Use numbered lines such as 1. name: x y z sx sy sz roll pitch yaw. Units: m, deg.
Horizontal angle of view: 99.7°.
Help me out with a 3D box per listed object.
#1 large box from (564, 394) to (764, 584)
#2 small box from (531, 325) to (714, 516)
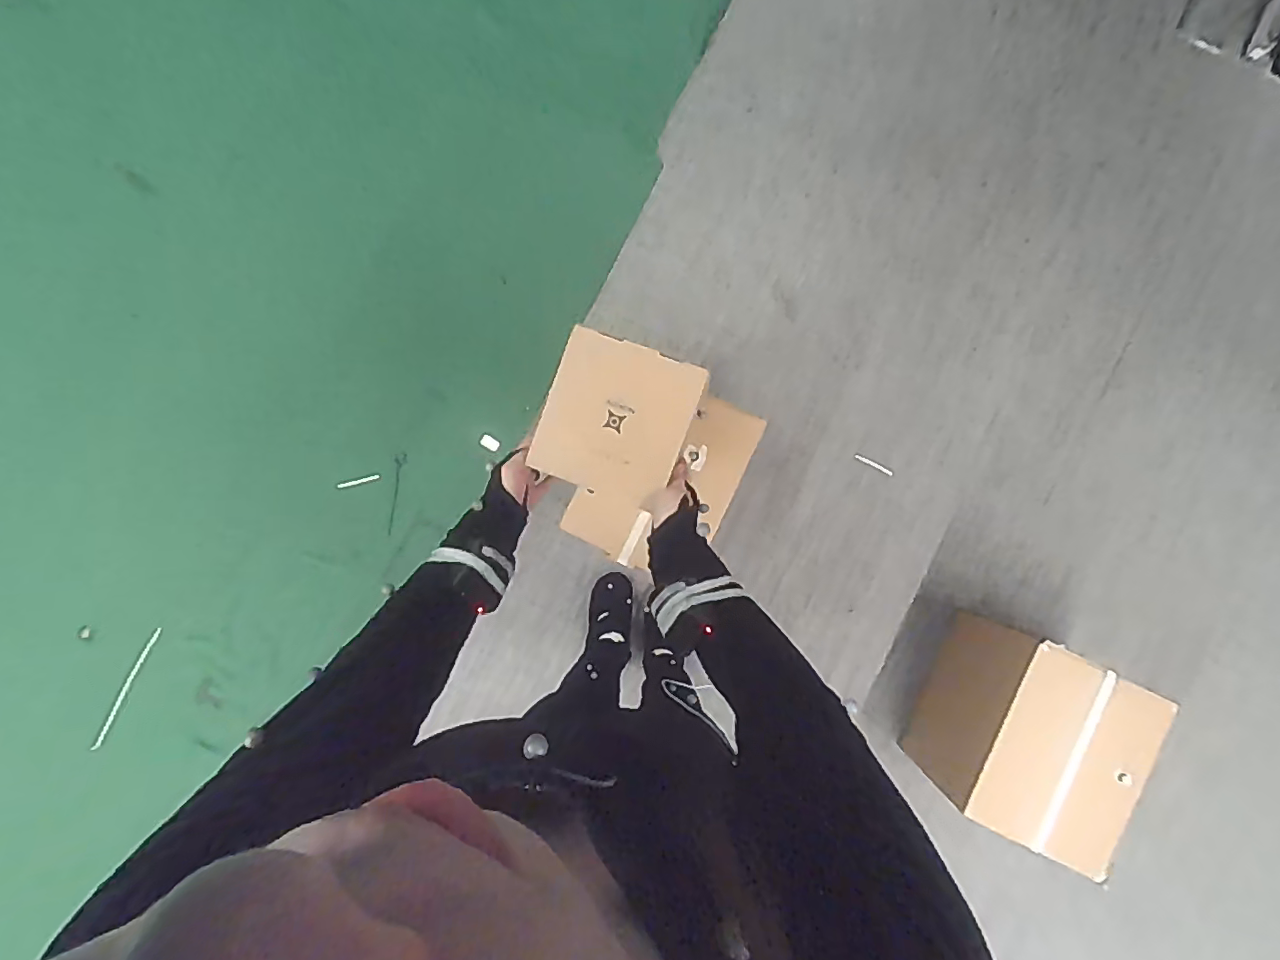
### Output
1. large box: 0.058 -0.007 1.317 0.320 0.320 0.408 26 88 3
2. small box: -0.015 -0.071 0.694 0.168 0.176 0.179 22 94 5
